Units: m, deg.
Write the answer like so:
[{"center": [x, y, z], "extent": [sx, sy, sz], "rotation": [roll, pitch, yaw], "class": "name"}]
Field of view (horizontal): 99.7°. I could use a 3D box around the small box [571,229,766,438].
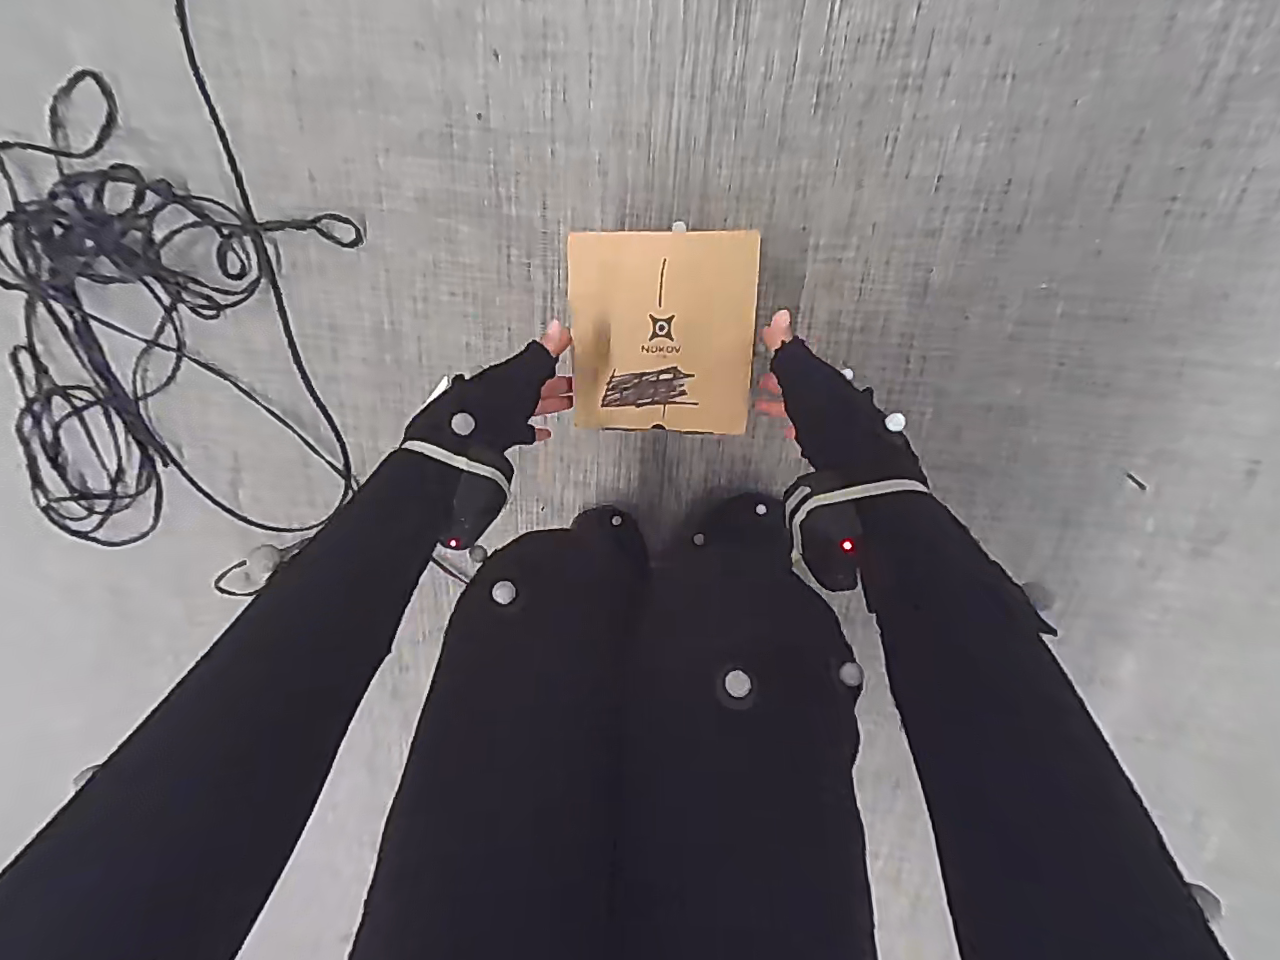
[{"center": [0.032, -0.153, 0.550], "extent": [0.168, 0.176, 0.179], "rotation": [4, 111, 7], "class": "small box"}]
